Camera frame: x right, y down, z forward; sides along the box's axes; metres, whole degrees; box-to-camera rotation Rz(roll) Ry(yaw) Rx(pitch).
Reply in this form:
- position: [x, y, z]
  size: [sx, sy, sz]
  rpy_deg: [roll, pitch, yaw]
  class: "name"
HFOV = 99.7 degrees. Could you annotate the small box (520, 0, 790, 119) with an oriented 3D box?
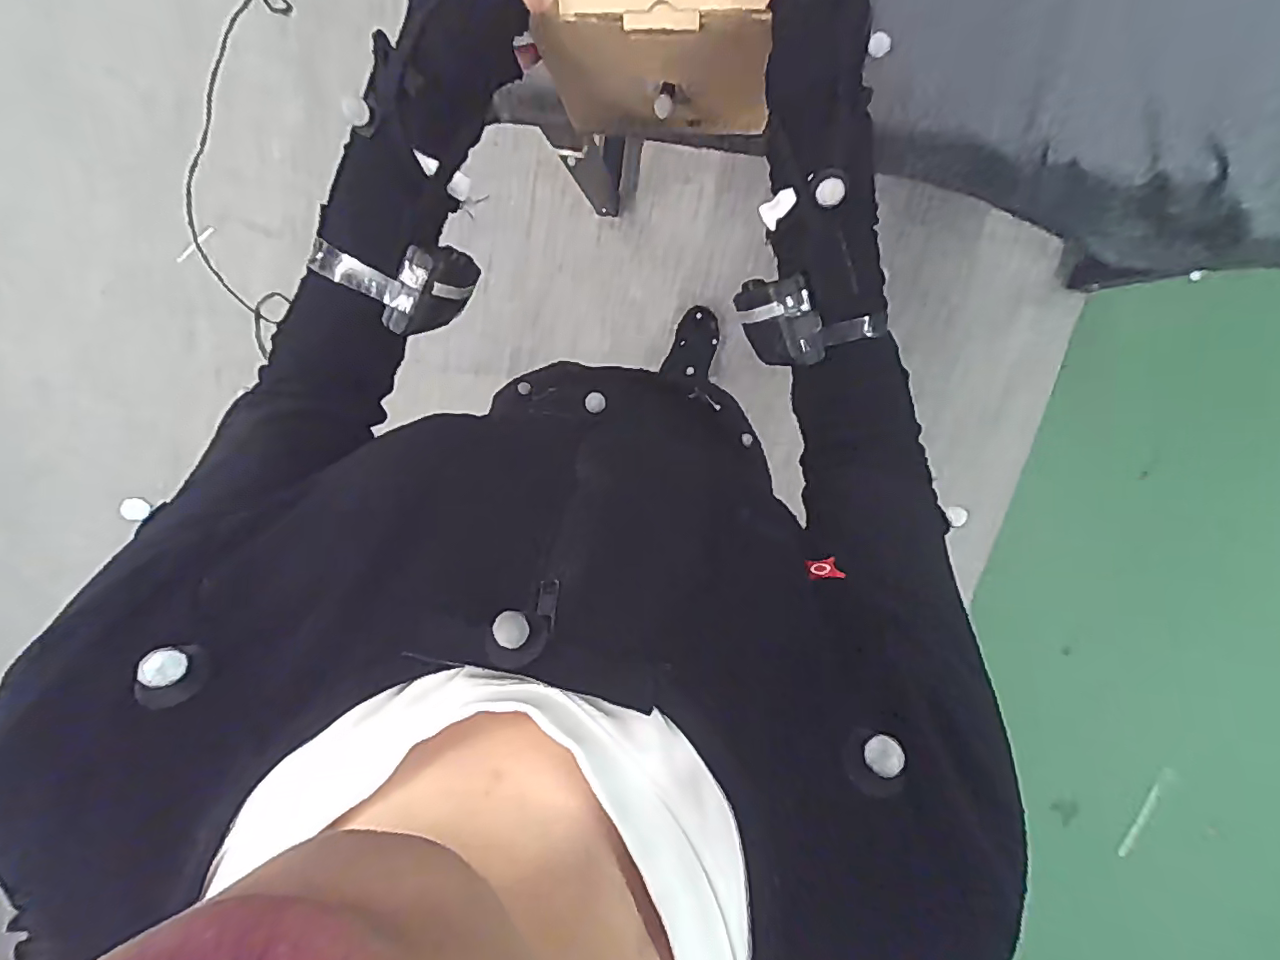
- position: [0.019, -0.376, 0.376]
  size: [0.168, 0.176, 0.179]
  rpy_deg: [3, 104, 5]
  class: "small box"
